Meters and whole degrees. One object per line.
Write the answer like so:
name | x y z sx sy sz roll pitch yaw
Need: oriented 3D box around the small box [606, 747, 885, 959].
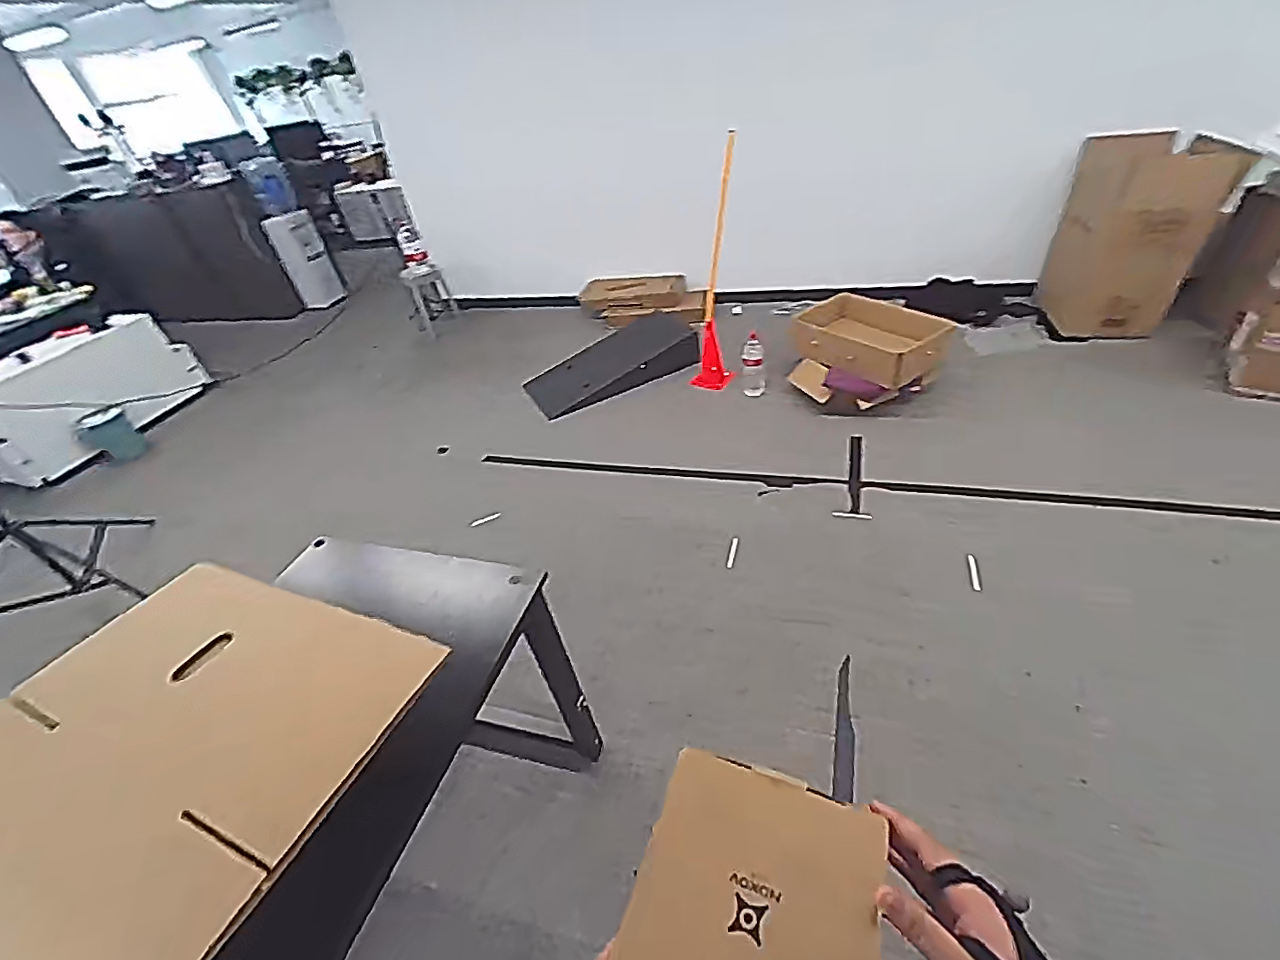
small box | 0.086 0.356 0.428 0.168 0.176 0.179 10 45 22
